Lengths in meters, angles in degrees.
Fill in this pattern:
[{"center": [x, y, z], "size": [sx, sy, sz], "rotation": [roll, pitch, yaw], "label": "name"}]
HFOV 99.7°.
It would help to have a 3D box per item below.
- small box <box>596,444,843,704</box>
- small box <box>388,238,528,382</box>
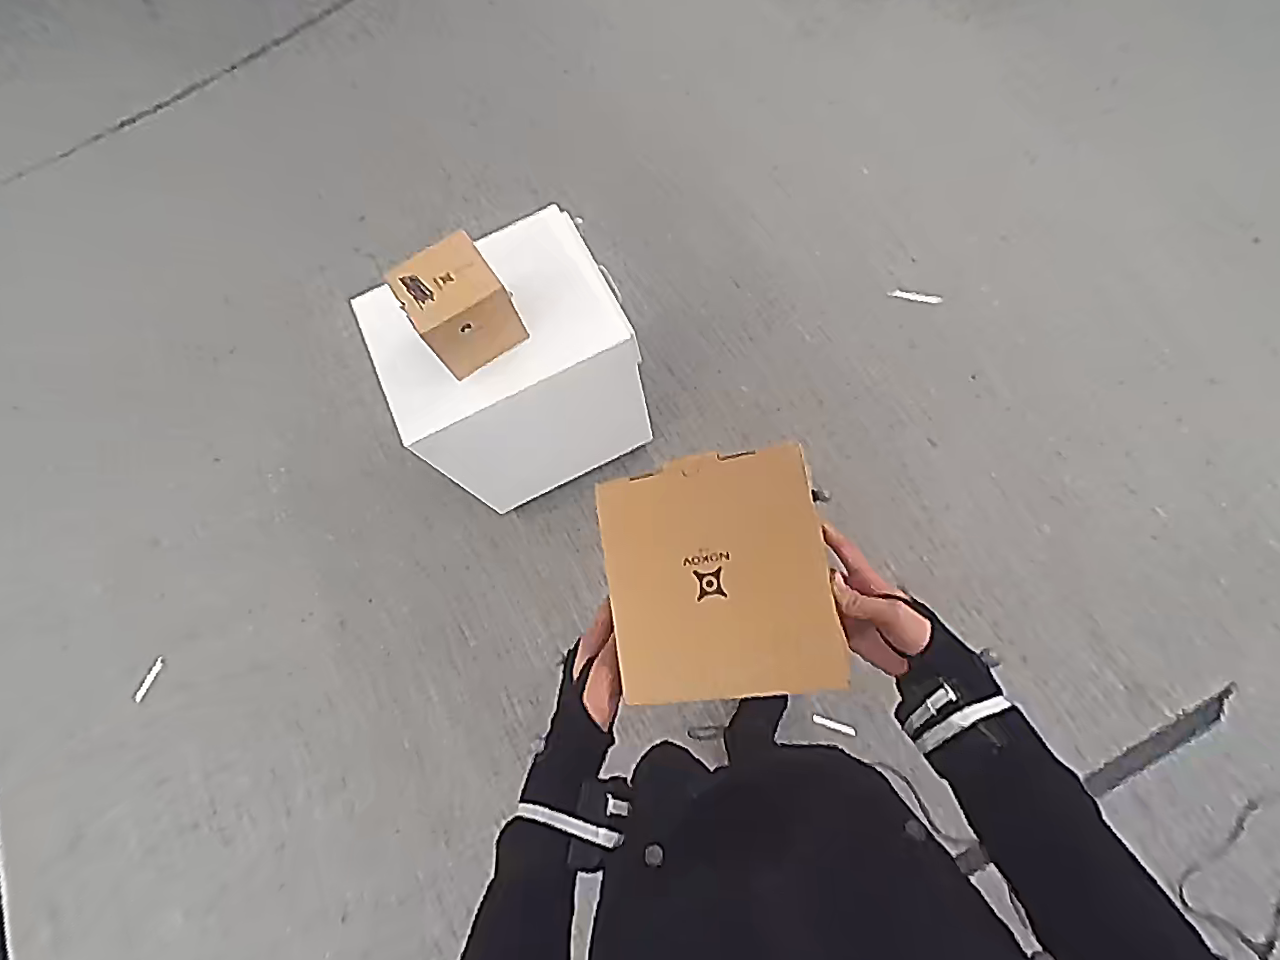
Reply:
[{"center": [0.079, 0.082, 0.481], "size": [0.168, 0.176, 0.179], "rotation": [-13, 78, 18], "label": "small box"}, {"center": [-0.350, -0.325, 1.067], "size": [0.179, 0.176, 0.168], "rotation": [-33, 72, -6], "label": "small box"}]
